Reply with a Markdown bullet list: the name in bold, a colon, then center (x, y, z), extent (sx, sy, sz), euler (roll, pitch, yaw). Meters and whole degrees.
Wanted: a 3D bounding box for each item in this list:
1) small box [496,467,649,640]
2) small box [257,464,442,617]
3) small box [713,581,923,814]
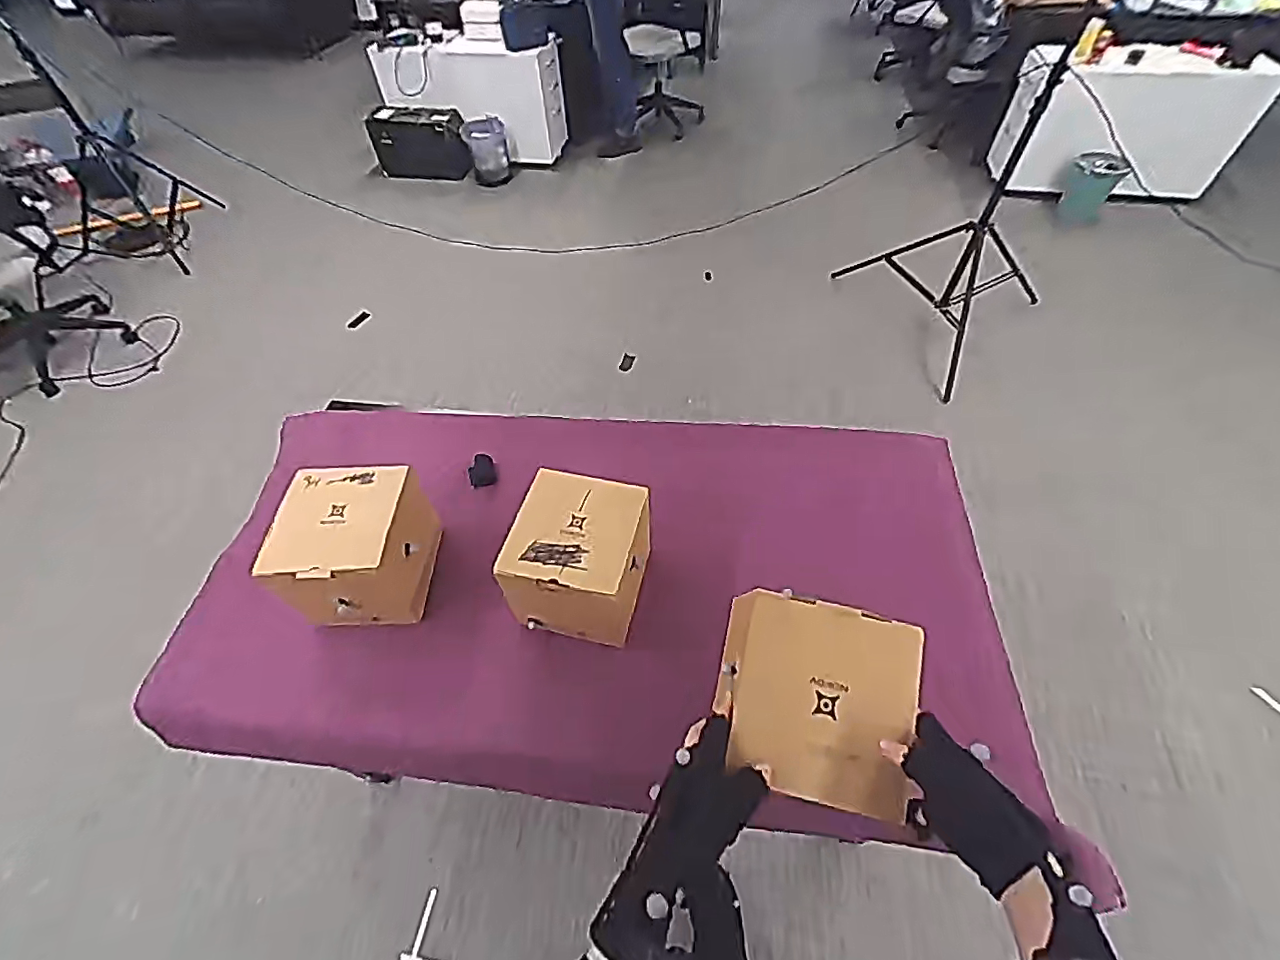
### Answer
- **small box**: center (-0.083, 0.111, 0.788), extent (0.168, 0.176, 0.179), euler (11, 52, 10)
- **small box**: center (-0.412, 0.096, 0.807), extent (0.168, 0.176, 0.179), euler (-1, 53, 0)
- **small box**: center (0.179, 0.221, 0.586), extent (0.168, 0.176, 0.179), euler (12, 75, 6)
